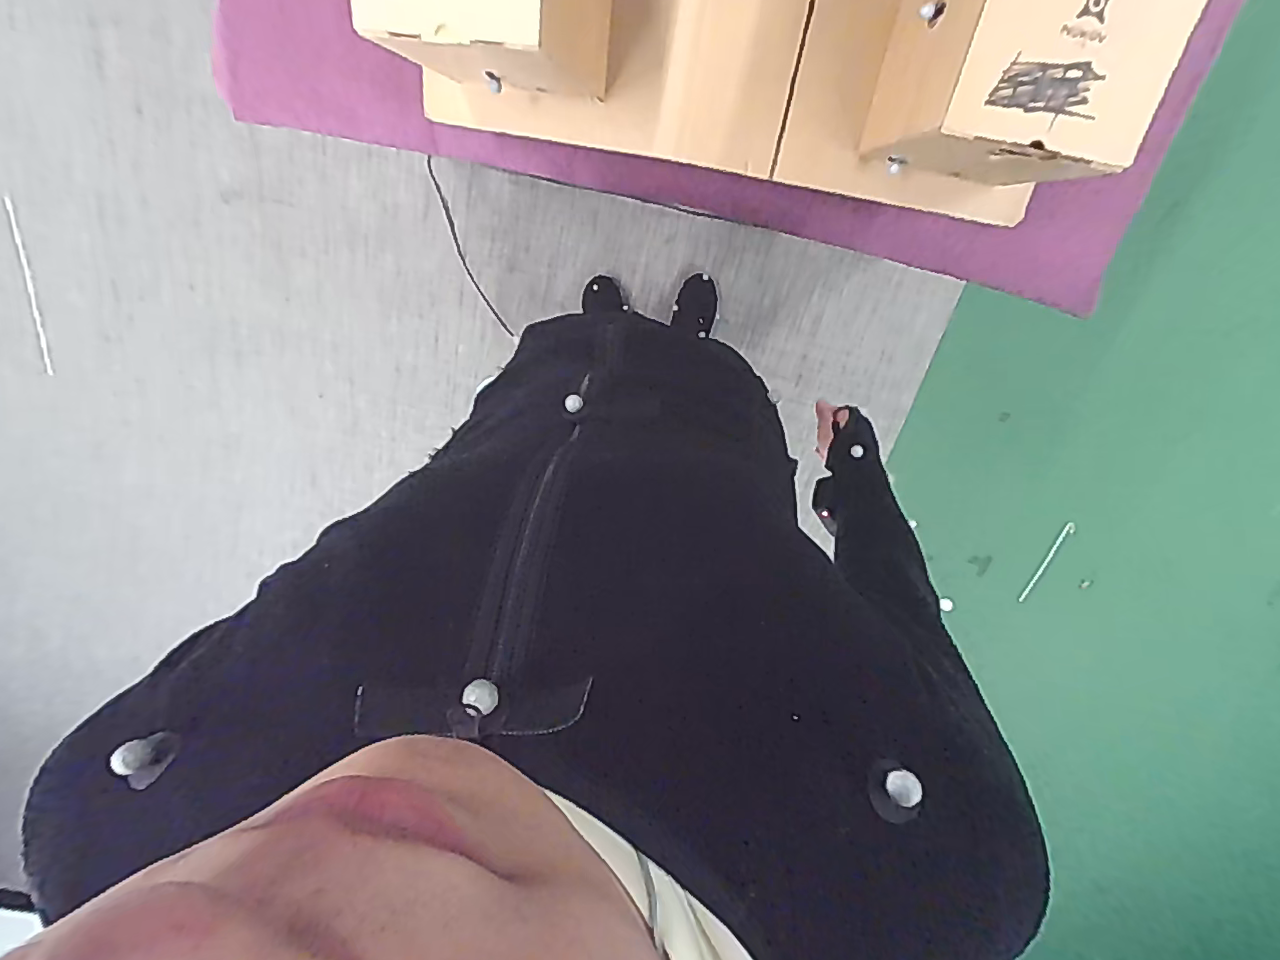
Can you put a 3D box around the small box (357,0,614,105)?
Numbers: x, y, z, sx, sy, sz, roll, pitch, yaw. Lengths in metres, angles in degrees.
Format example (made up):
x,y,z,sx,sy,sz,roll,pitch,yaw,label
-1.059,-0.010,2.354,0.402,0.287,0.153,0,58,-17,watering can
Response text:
x,y,z,sx,sy,sz,roll,pitch,yaw,label
-0.121,-0.453,0.467,0.168,0.176,0.179,12,117,9,small box

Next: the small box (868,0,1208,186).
x,y,z,sx,sy,sz,roll,pitch,yaw,label
0.327,-0.371,0.473,0.168,0.176,0.179,8,113,-6,small box
